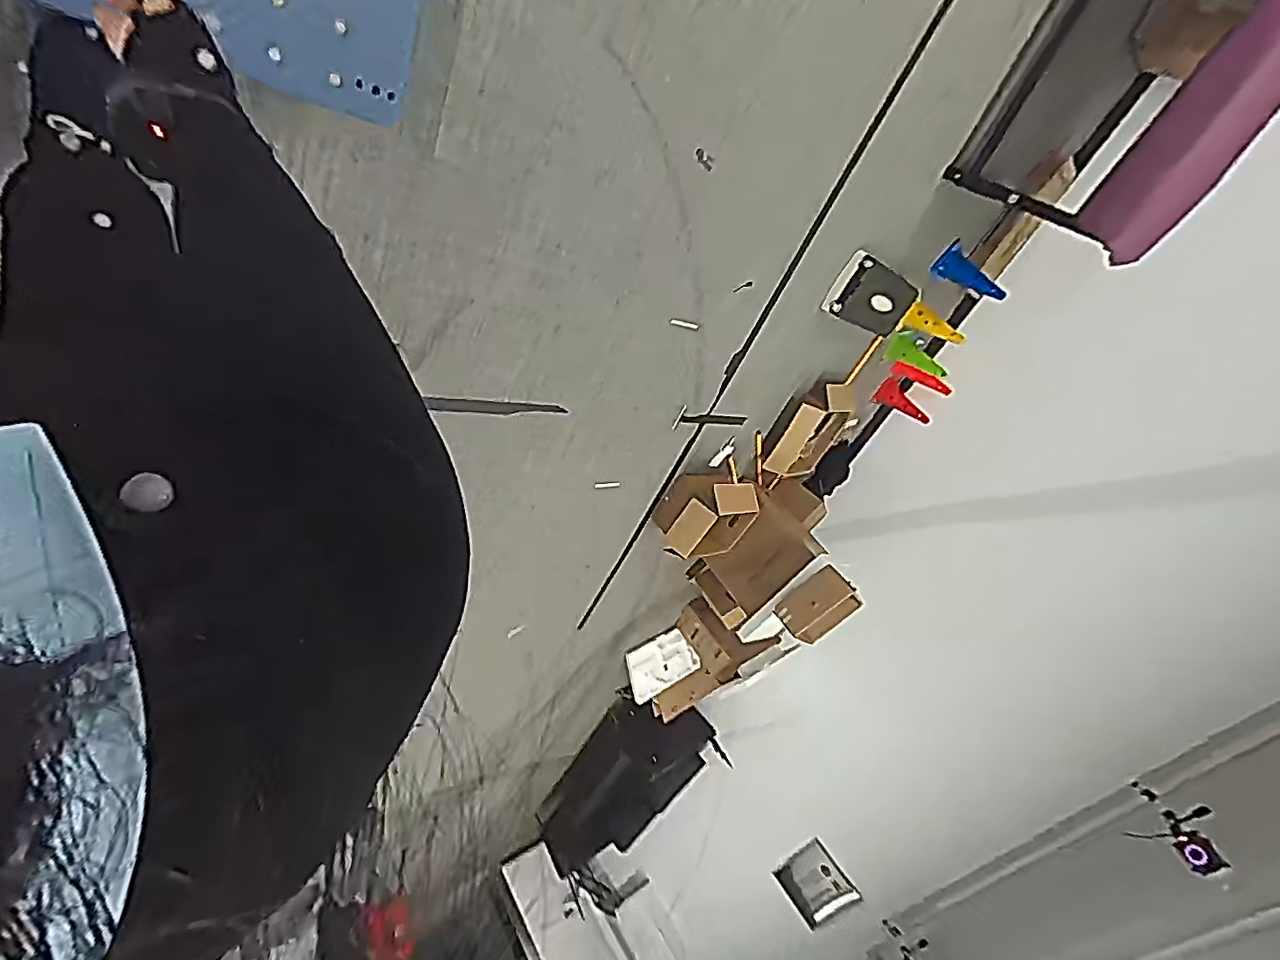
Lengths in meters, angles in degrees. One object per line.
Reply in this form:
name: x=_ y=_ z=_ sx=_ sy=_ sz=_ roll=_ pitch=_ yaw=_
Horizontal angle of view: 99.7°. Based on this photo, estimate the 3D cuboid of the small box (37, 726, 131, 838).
small box: x=-1.464 y=0.788 z=1.426 sx=0.168 sy=0.176 sz=0.179 roll=-5 pitch=133 yaw=-47

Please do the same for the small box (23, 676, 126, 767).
small box: x=-1.561 y=0.679 z=1.499 sx=0.168 sy=0.176 sz=0.179 roll=-17 pitch=141 yaw=-38
